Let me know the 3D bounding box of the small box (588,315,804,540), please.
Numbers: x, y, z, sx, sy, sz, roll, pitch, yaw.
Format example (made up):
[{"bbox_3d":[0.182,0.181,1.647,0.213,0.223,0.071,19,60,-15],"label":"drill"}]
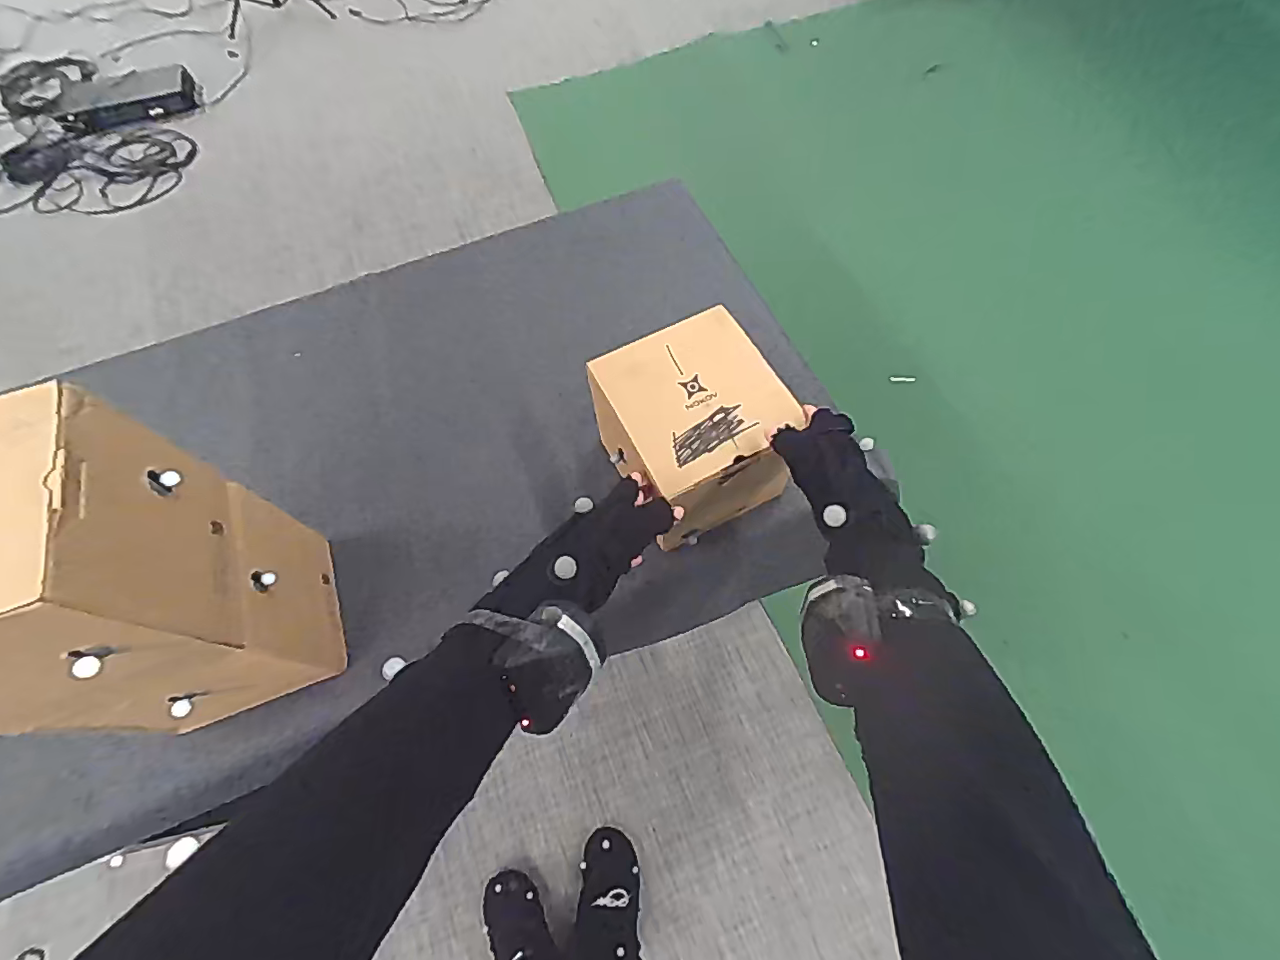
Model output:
[{"bbox_3d":[0.058,-0.047,0.623,0.168,0.176,0.179,-25,66,-9],"label":"small box"}]

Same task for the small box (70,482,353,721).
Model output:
[{"bbox_3d":[-0.429,0.133,0.551,0.179,0.176,0.168,-20,65,-8],"label":"small box"}]

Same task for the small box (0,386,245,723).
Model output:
[{"bbox_3d":[-0.431,0.064,0.403,0.179,0.176,0.168,-21,64,-8],"label":"small box"}]
